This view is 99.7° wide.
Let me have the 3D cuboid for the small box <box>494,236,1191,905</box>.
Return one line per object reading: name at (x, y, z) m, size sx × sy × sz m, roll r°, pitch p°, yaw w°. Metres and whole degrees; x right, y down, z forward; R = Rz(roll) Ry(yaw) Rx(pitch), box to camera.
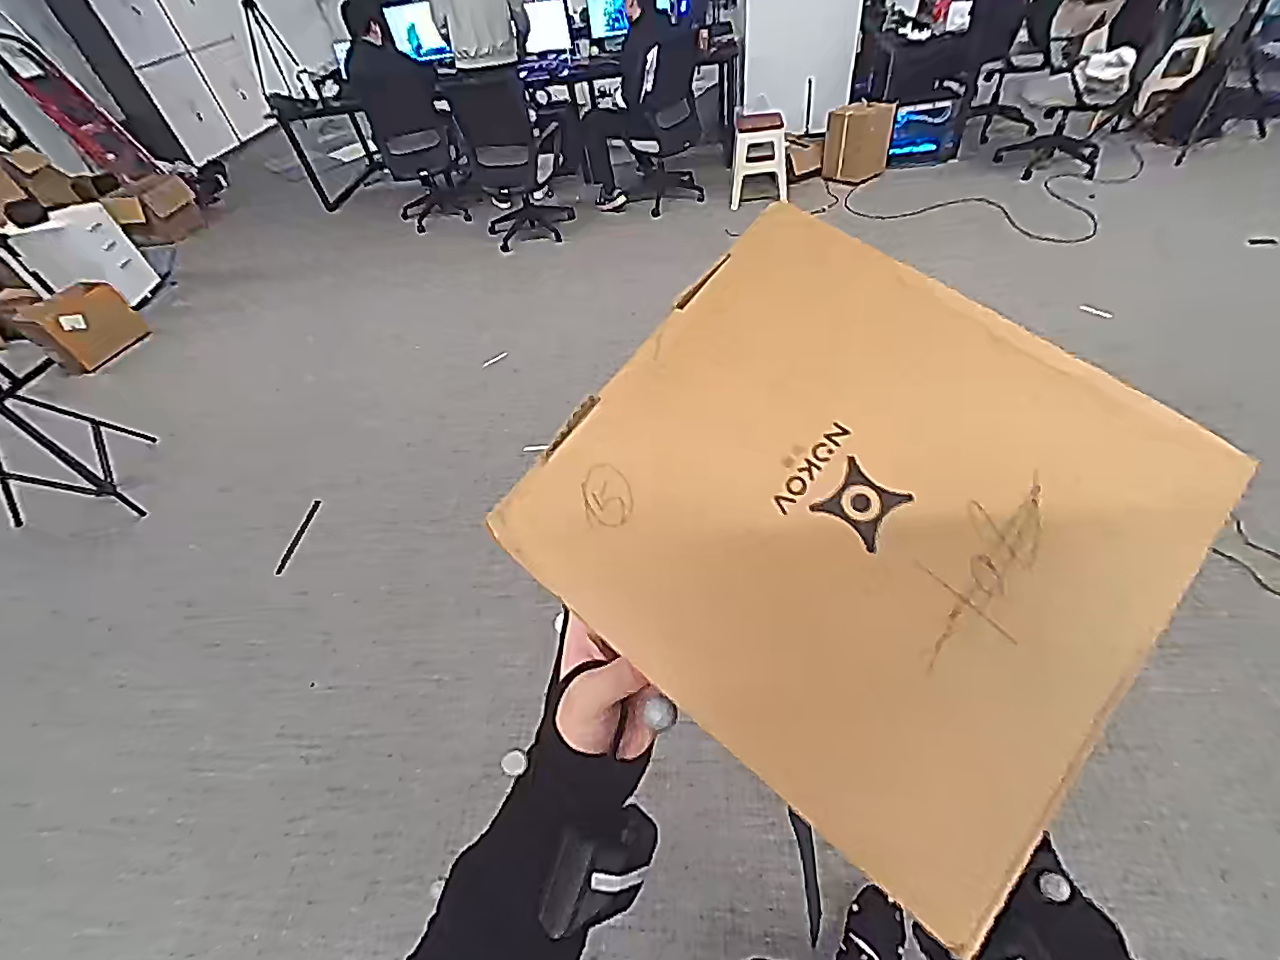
small box at (0.070, 0.033, 0.259) m, size 0.179 × 0.176 × 0.168 m, roll 37°, pitch 79°, yaw 16°
